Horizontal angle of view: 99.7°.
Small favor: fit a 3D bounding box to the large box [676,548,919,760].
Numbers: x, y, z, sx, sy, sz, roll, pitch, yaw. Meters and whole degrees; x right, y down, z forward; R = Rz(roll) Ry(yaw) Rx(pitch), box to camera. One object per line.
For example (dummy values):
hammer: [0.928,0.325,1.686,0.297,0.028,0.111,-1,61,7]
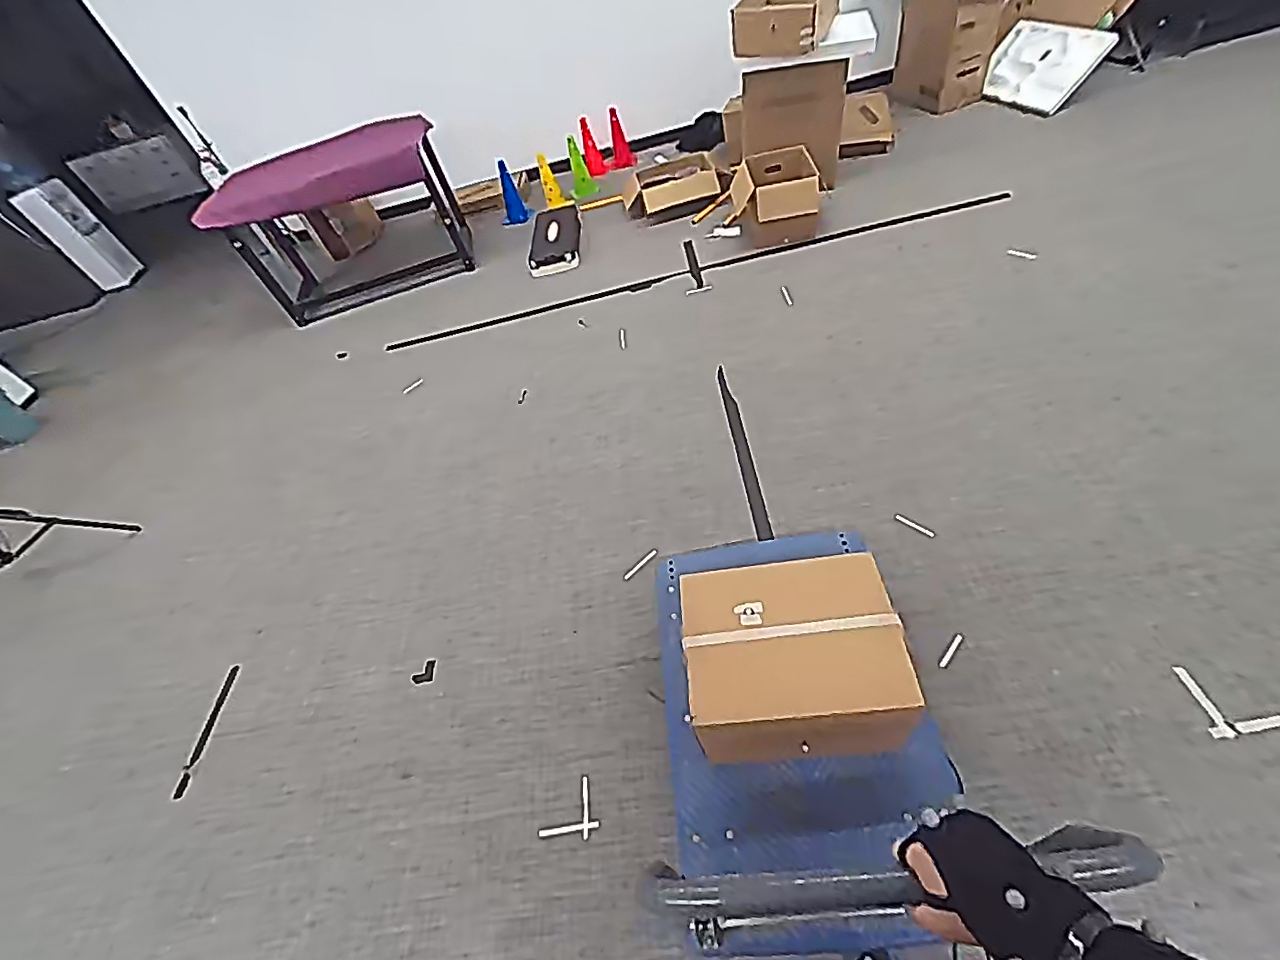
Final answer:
large box: [0.310,0.381,1.150,0.408,0.320,0.320,-10,48,9]
